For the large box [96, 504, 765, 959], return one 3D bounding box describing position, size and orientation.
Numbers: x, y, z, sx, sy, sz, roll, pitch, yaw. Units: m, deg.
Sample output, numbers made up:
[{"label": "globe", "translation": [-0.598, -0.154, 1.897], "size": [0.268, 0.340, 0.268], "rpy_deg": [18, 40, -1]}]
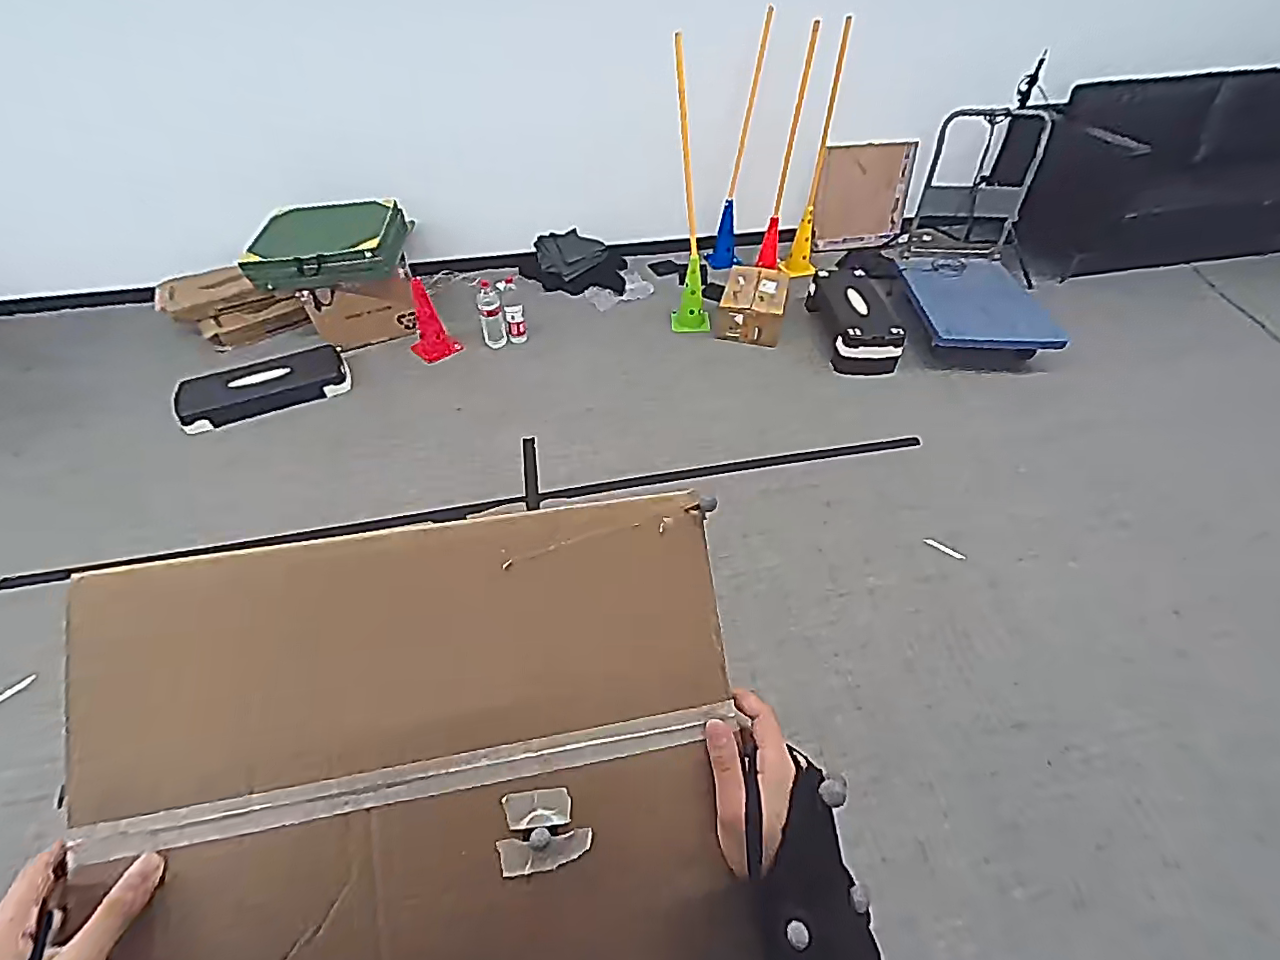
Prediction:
[{"label": "large box", "translation": [-0.151, 0.219, 0.500], "size": [0.408, 0.320, 0.320], "rpy_deg": [-8, 83, -9]}]
